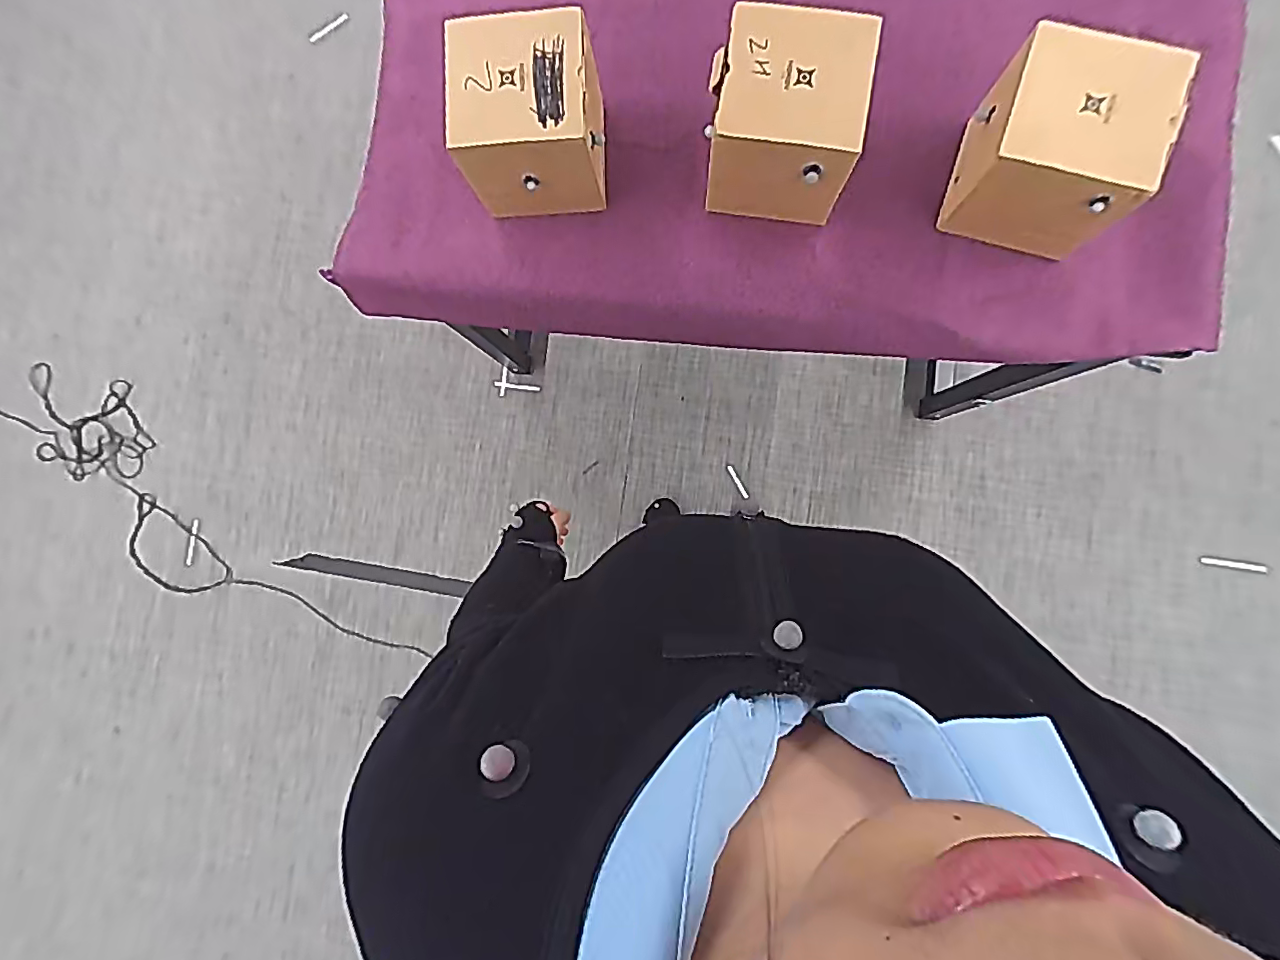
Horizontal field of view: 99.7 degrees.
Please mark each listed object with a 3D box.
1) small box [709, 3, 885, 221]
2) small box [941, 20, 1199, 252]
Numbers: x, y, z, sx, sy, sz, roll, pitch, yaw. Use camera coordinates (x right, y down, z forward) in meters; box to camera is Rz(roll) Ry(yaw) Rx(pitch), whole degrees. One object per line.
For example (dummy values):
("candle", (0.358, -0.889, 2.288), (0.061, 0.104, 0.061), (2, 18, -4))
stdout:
("small box", (0.192, -0.466, 0.710), (0.179, 0.176, 0.168), (9, 88, 5))
("small box", (0.518, -0.415, 0.681), (0.179, 0.176, 0.168), (17, 89, 5))
